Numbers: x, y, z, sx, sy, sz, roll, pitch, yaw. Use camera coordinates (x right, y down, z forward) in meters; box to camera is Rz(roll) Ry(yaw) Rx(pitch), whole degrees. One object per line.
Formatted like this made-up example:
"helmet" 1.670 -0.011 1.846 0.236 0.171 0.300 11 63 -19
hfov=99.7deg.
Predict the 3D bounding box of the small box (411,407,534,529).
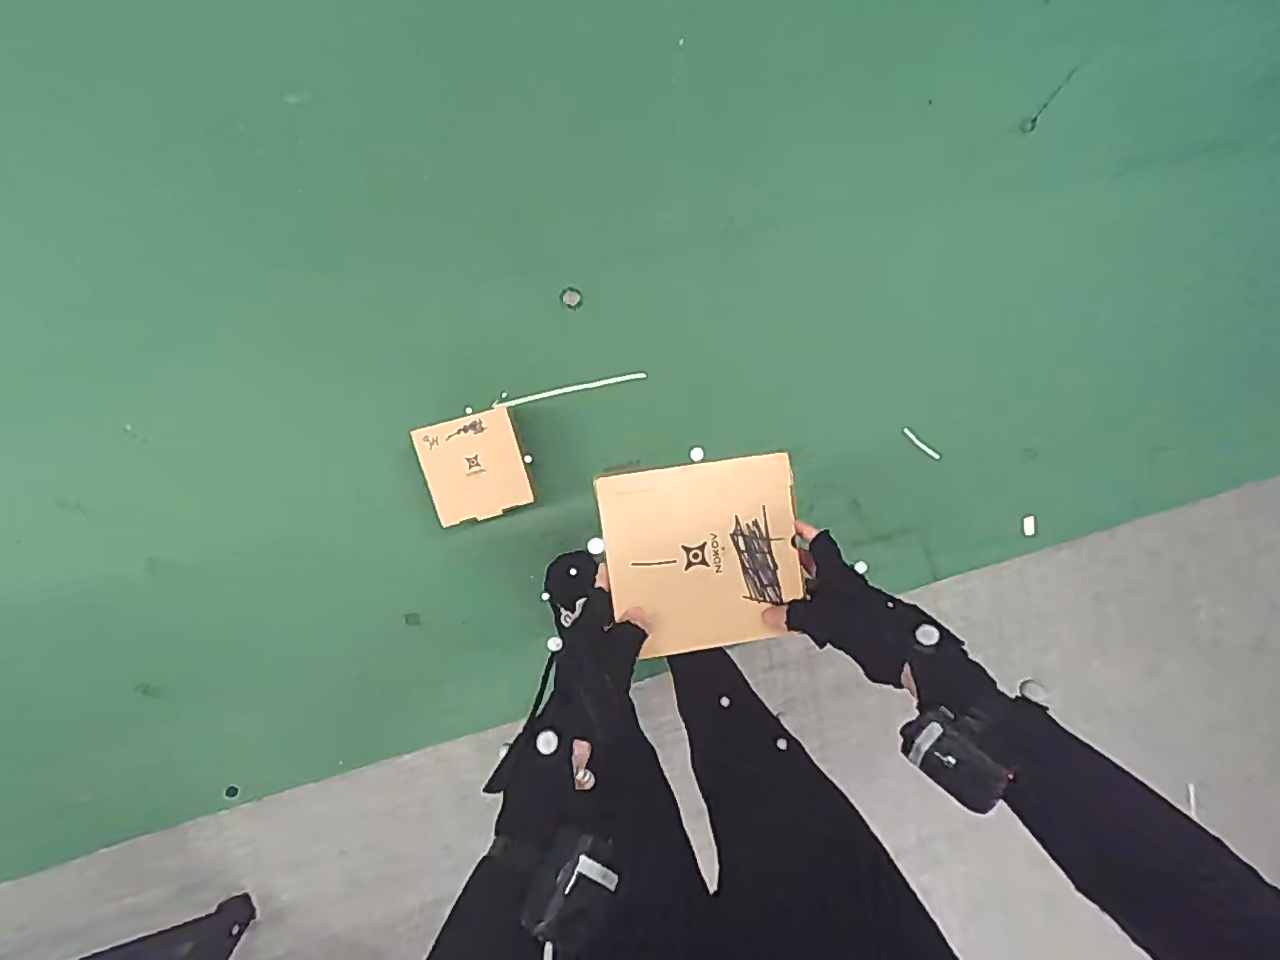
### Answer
"small box" -0.297 -0.030 0.998 0.168 0.176 0.179 -16 101 -8

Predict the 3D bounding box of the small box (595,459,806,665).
"small box" 0.049 0.069 0.556 0.179 0.176 0.168 -8 92 -4
